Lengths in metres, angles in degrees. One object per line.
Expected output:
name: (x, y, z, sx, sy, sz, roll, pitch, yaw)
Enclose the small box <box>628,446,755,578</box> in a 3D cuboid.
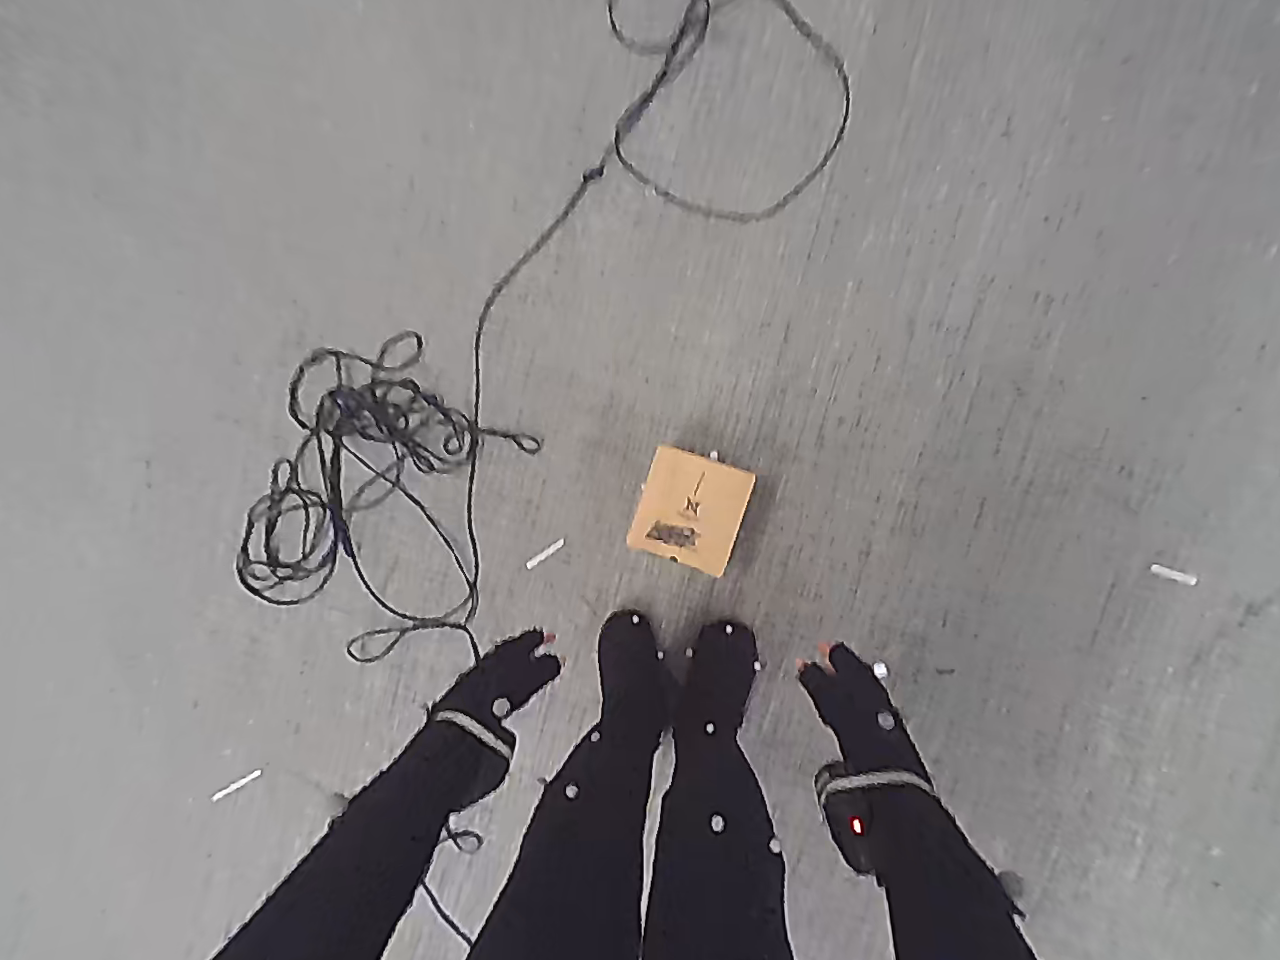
small box: (0.094, 0.049, 0.946, 0.168, 0.176, 0.179, 18, 94, 8)
